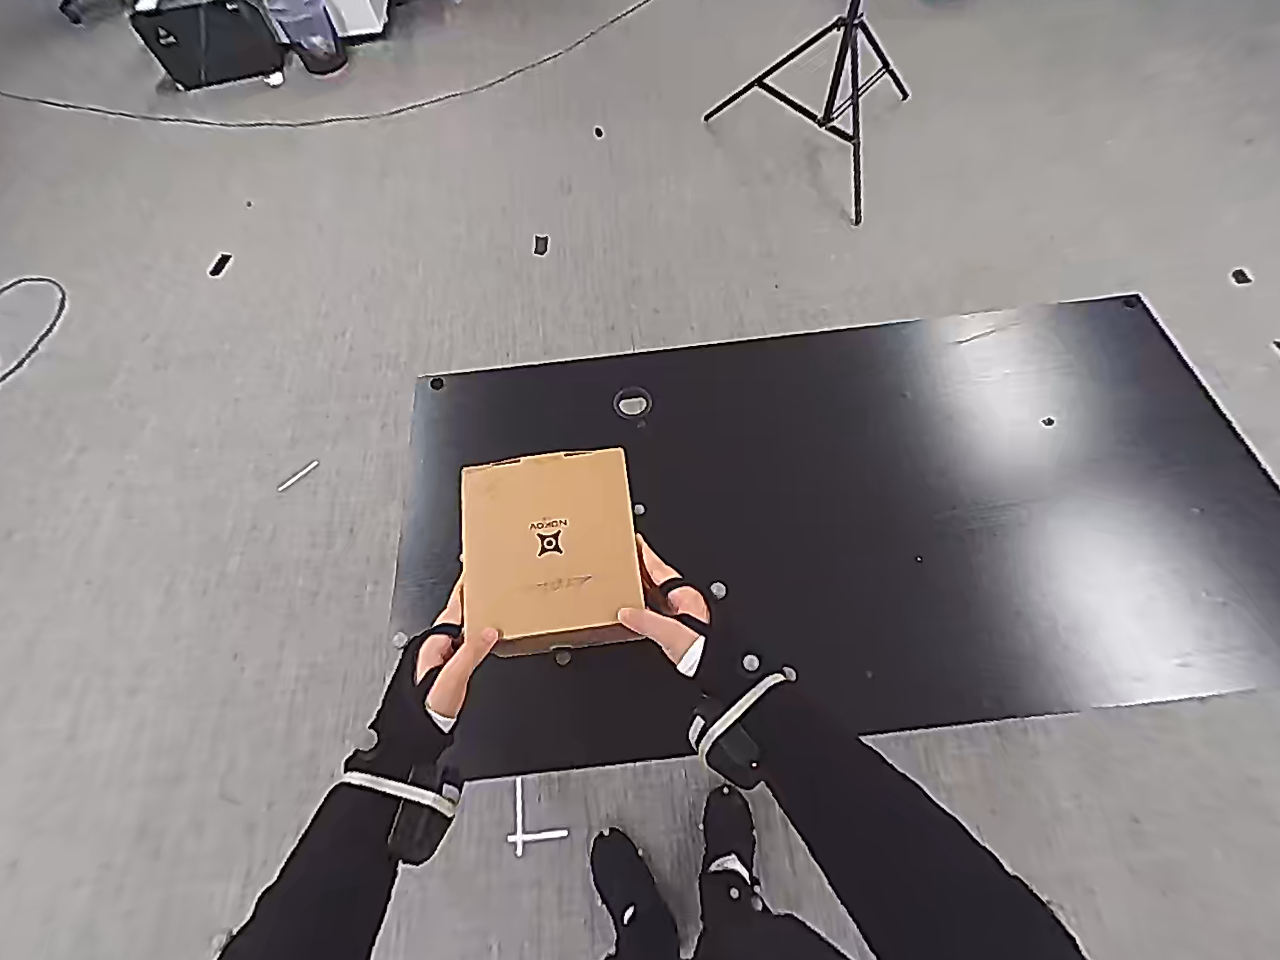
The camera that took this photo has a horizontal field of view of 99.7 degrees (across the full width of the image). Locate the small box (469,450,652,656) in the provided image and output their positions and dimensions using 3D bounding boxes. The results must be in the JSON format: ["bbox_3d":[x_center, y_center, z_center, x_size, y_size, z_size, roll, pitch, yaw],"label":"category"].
[{"bbox_3d":[-0.081,0.088,0.591,0.168,0.176,0.179,-8,69,-2],"label":"small box"}]
